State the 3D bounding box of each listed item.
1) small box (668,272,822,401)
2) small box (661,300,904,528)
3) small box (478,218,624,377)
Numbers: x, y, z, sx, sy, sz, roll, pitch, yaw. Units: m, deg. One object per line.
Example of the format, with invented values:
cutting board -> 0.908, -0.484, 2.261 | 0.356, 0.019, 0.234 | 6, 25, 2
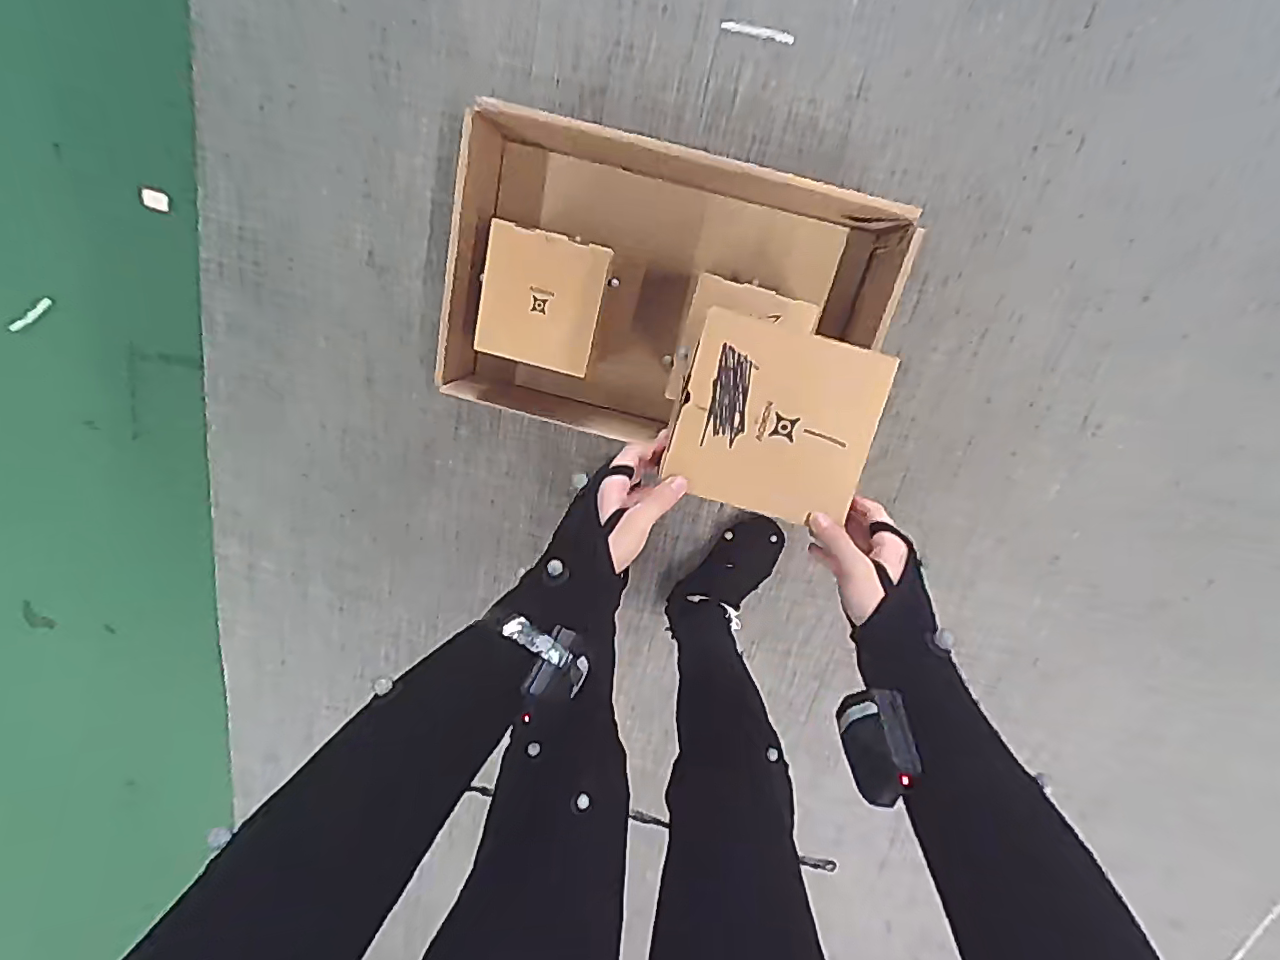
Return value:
small box -> 0.148, -0.198, 0.811 | 0.168, 0.176, 0.179 | 16, 109, 0
small box -> 0.126, -0.067, 0.557 | 0.179, 0.176, 0.168 | 16, 99, -1
small box -> -0.125, -0.270, 0.812 | 0.168, 0.176, 0.179 | 14, 108, 0
